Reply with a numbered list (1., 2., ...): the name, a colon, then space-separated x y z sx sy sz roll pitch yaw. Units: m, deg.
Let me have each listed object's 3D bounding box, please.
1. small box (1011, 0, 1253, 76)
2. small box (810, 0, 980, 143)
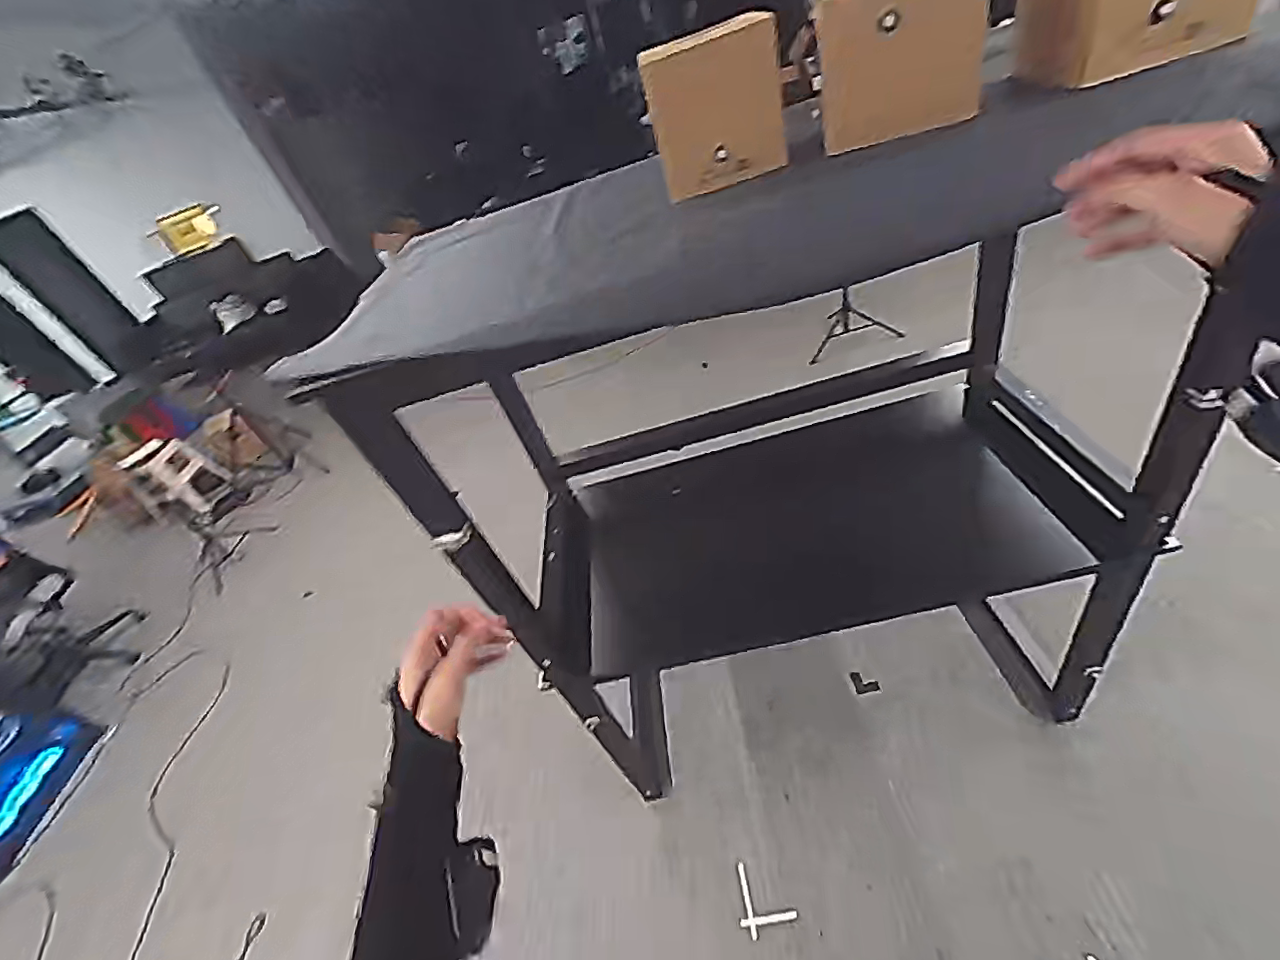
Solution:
1. small box: 0.551 -0.582 0.607 0.168 0.176 0.179 -12 40 12
2. small box: 0.313 -0.551 0.680 0.179 0.176 0.168 -4 42 20
